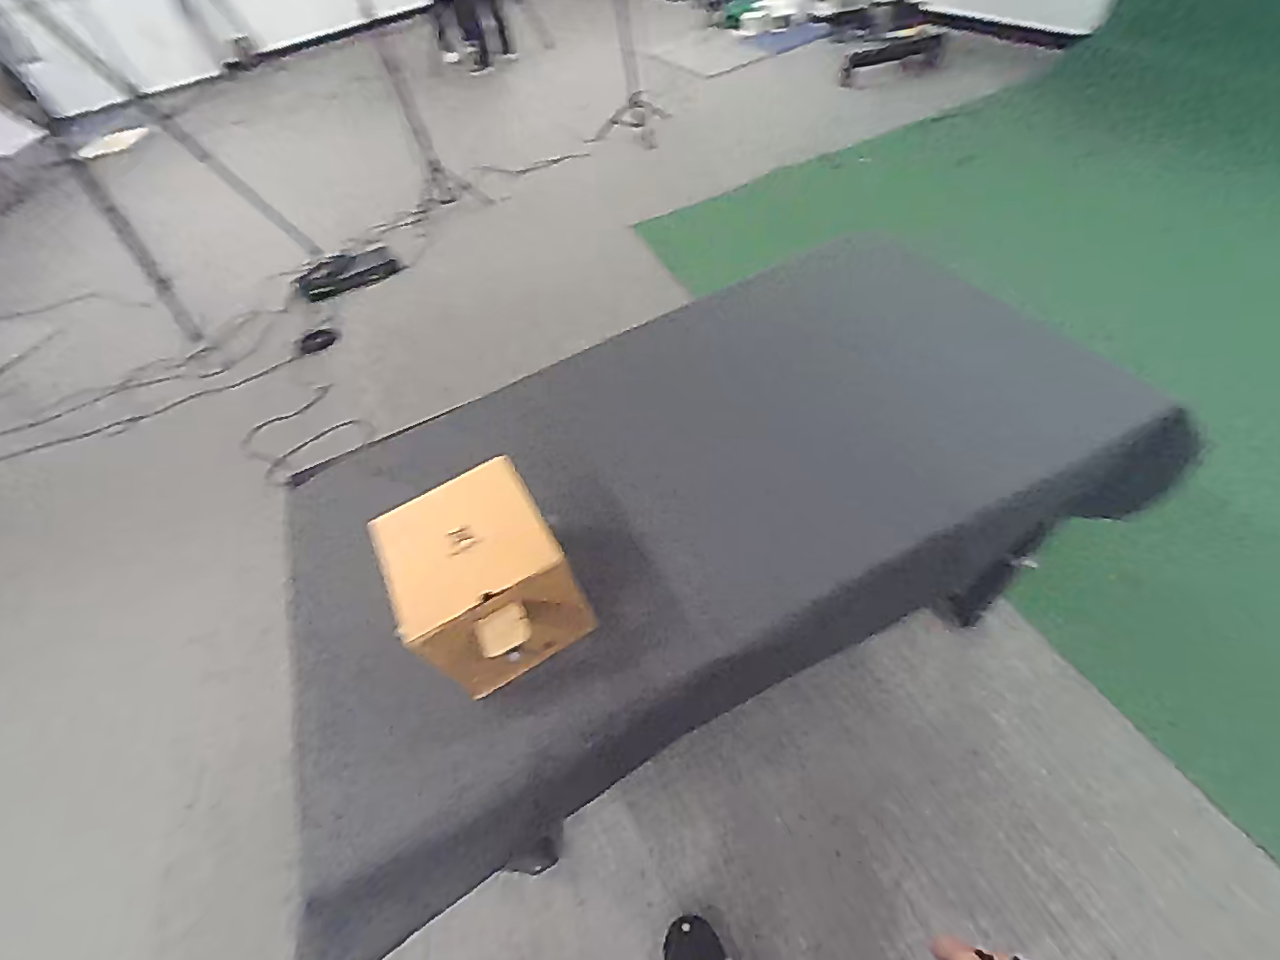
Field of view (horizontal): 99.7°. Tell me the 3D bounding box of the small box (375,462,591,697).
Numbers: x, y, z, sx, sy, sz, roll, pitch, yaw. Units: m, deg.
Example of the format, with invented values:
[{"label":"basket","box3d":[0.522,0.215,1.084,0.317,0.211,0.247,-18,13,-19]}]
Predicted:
[{"label":"small box","box3d":[-0.177,0.118,0.634,0.168,0.176,0.179,-29,52,-14]}]
